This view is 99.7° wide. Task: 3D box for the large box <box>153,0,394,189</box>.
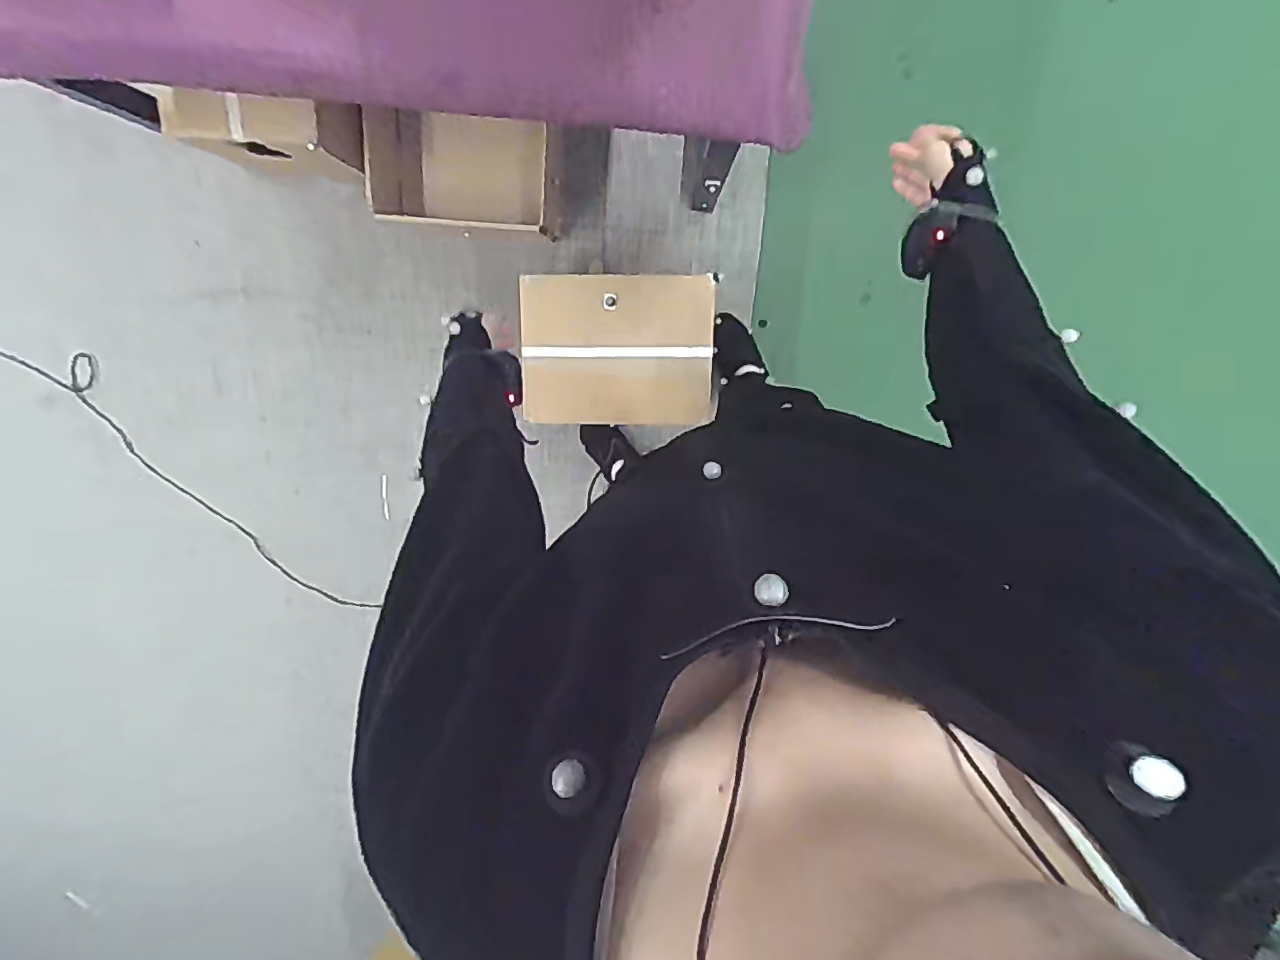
[{"bbox_3d":[-0.755,-0.889,1.158,0.320,0.320,0.408,4,106,1],"label":"large box"}]
